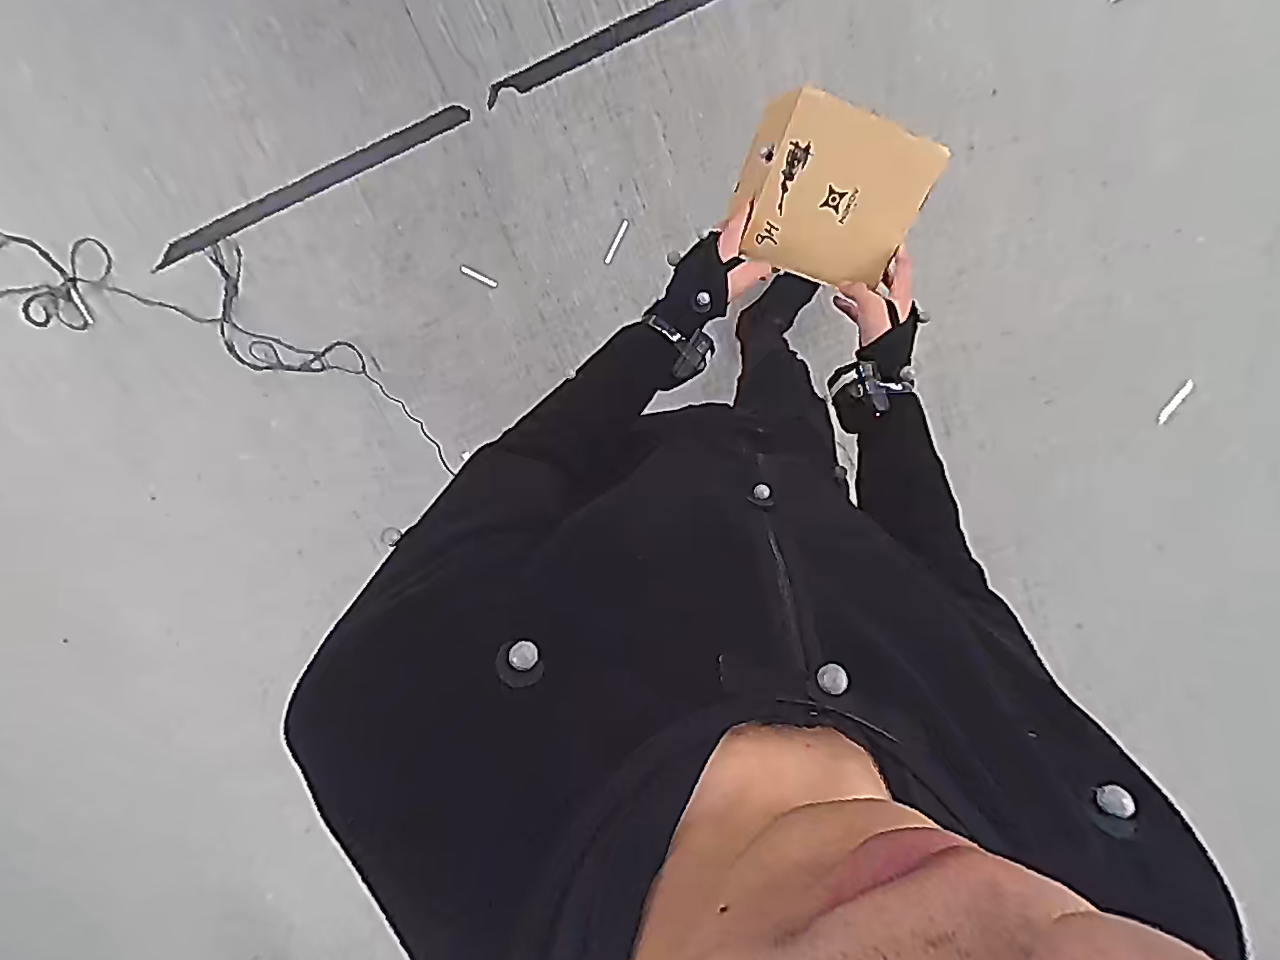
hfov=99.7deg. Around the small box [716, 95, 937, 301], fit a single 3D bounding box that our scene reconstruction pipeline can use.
[{"bbox_3d":[0.212,-0.349,0.670,0.179,0.176,0.168,16,121,-11],"label":"small box"}]
